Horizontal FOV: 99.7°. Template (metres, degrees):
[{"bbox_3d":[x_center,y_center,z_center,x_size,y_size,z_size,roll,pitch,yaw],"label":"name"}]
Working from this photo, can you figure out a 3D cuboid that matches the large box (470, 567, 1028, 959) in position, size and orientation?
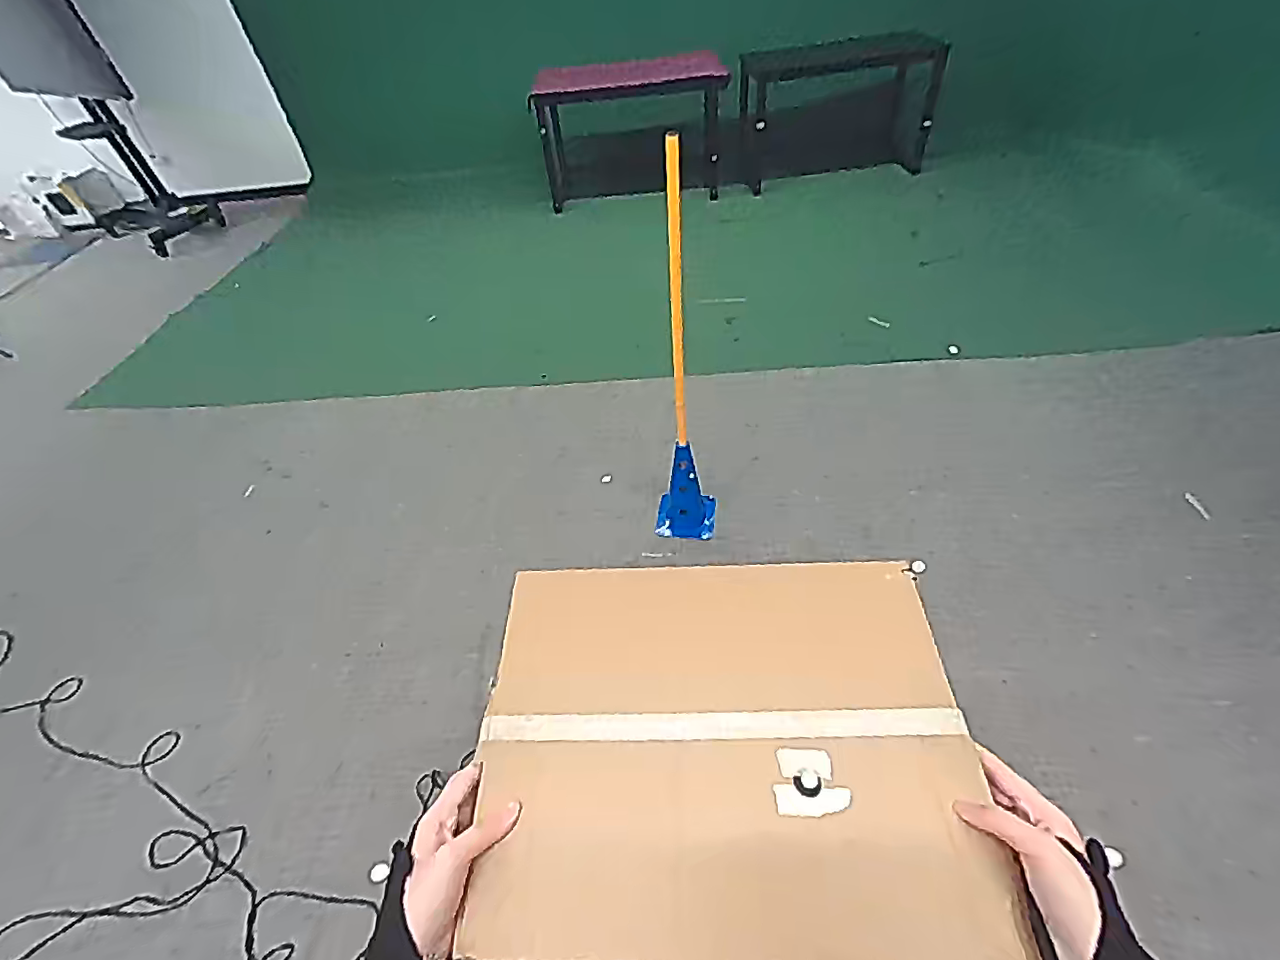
[{"bbox_3d":[0.079,0.311,0.588,0.408,0.320,0.320,-2,51,3],"label":"large box"}]

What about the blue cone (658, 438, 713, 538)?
[{"bbox_3d":[0.151,0.017,1.822,0.193,0.380,0.192,4,46,11],"label":"blue cone"}]
